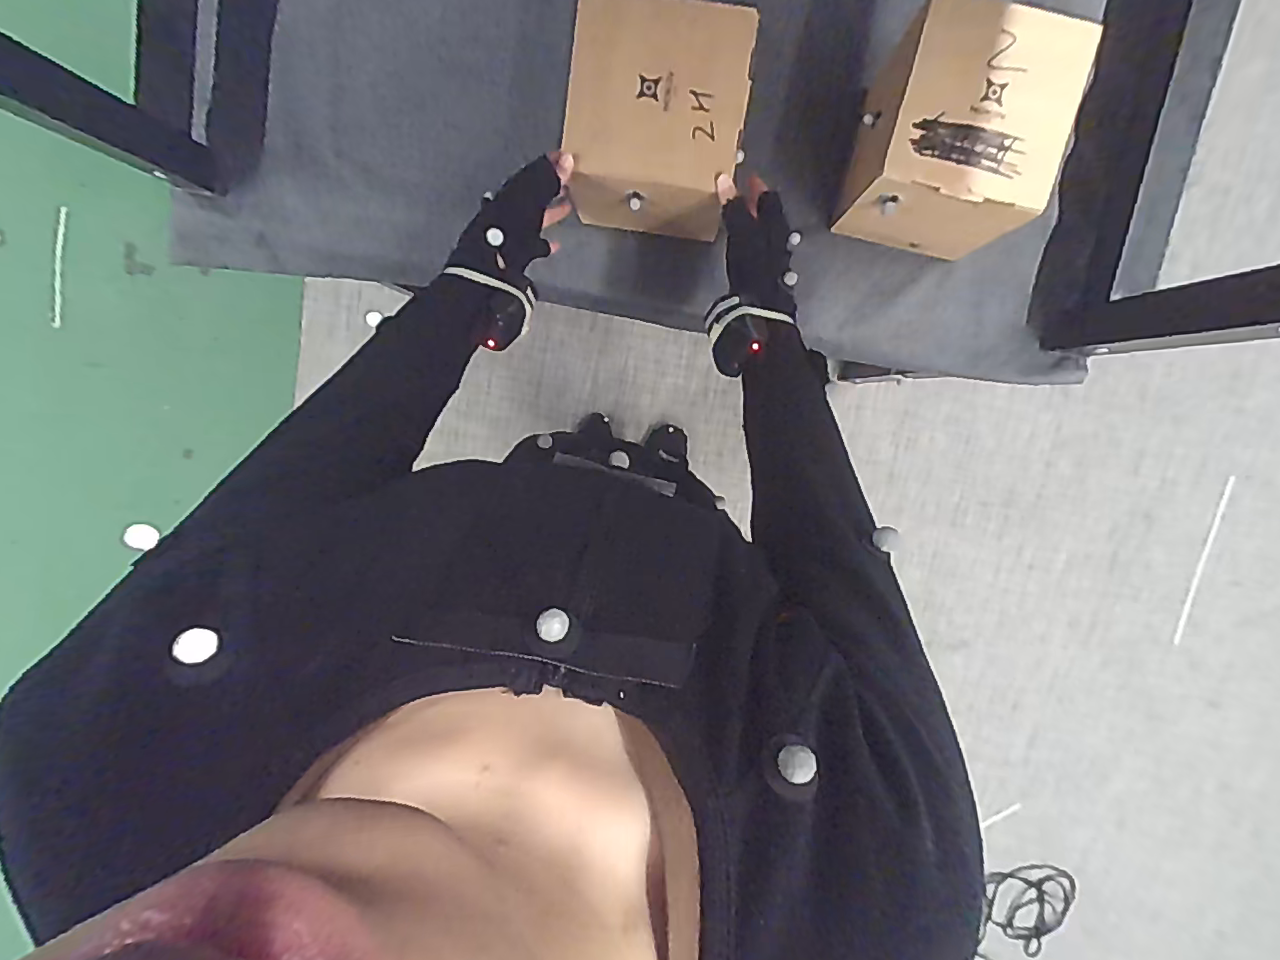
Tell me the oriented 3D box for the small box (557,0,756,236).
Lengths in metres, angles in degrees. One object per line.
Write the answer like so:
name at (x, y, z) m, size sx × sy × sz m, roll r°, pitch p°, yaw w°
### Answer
small box at (0.017, -0.391, 0.608) m, size 0.179 × 0.176 × 0.168 m, roll 9°, pitch 99°, yaw 0°
